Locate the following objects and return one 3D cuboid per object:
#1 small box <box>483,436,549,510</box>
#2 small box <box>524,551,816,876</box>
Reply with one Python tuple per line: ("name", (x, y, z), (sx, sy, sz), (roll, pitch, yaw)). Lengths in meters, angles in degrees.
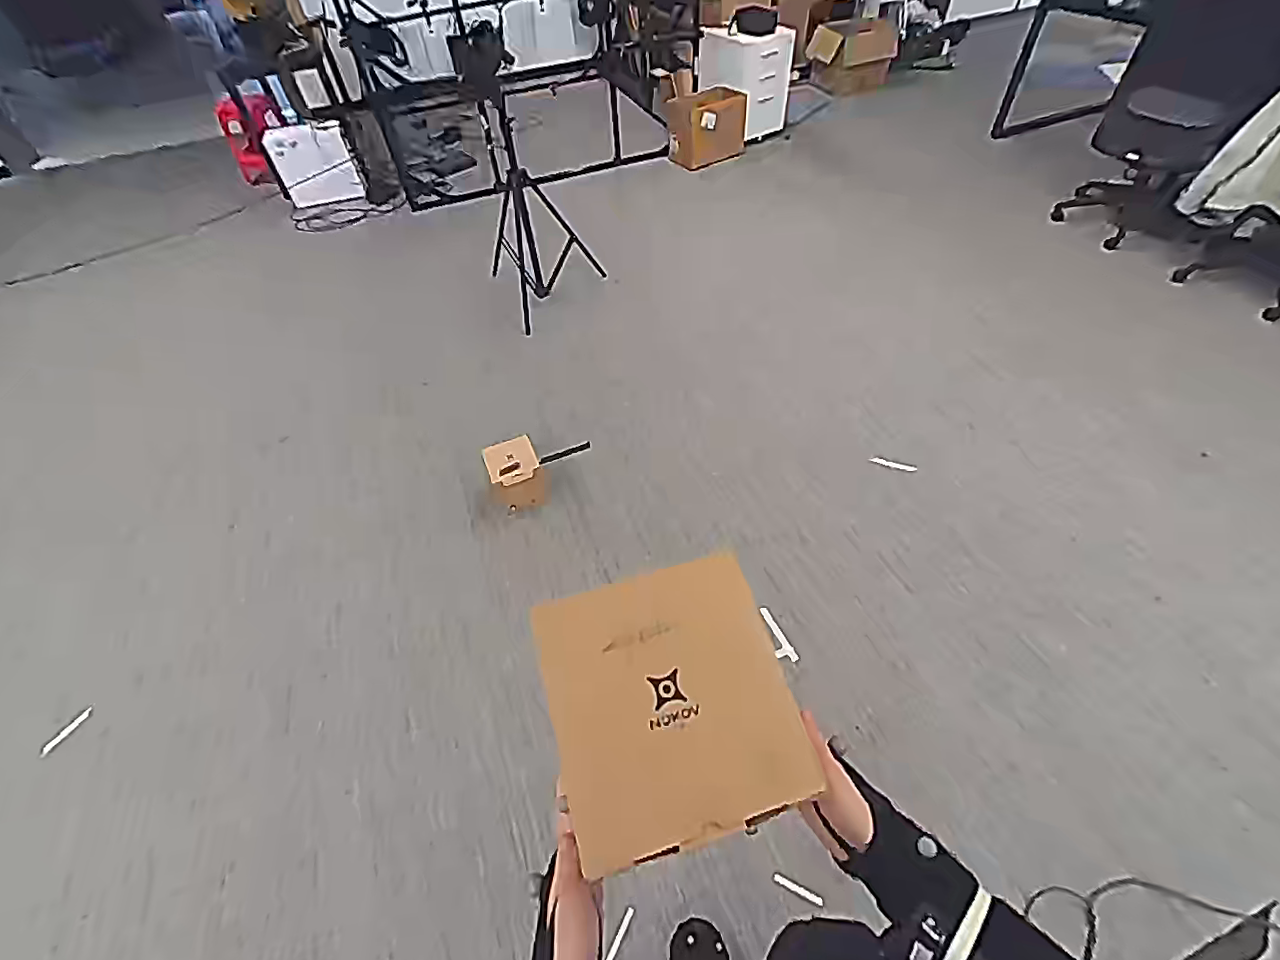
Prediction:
("small box", (-0.427, -0.017, 1.878), (0.168, 0.176, 0.179), (-21, 52, -12))
("small box", (0.014, 0.186, 0.447), (0.168, 0.176, 0.179), (-15, 62, -10))
